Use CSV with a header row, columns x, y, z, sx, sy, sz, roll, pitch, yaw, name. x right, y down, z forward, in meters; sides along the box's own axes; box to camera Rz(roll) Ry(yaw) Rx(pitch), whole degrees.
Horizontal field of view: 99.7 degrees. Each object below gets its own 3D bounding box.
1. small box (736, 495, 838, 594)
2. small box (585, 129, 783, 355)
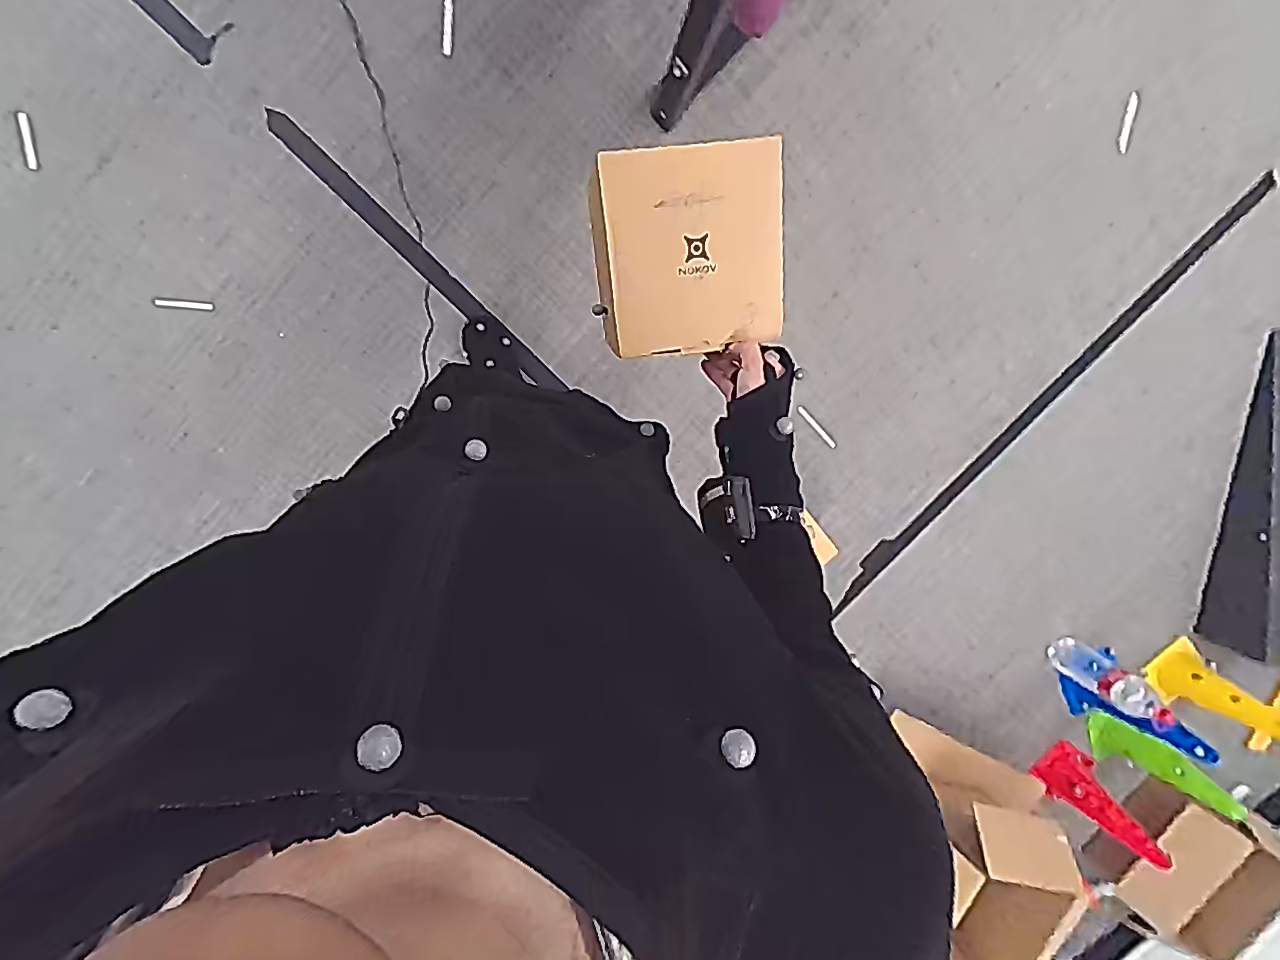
x,y,z,sx,sy,sz,roll,pitch,yaw,name
0.385,0.165,1.450,0.179,0.176,0.168,-40,105,4,small box
0.039,-0.237,0.562,0.168,0.176,0.179,-10,110,-6,small box
